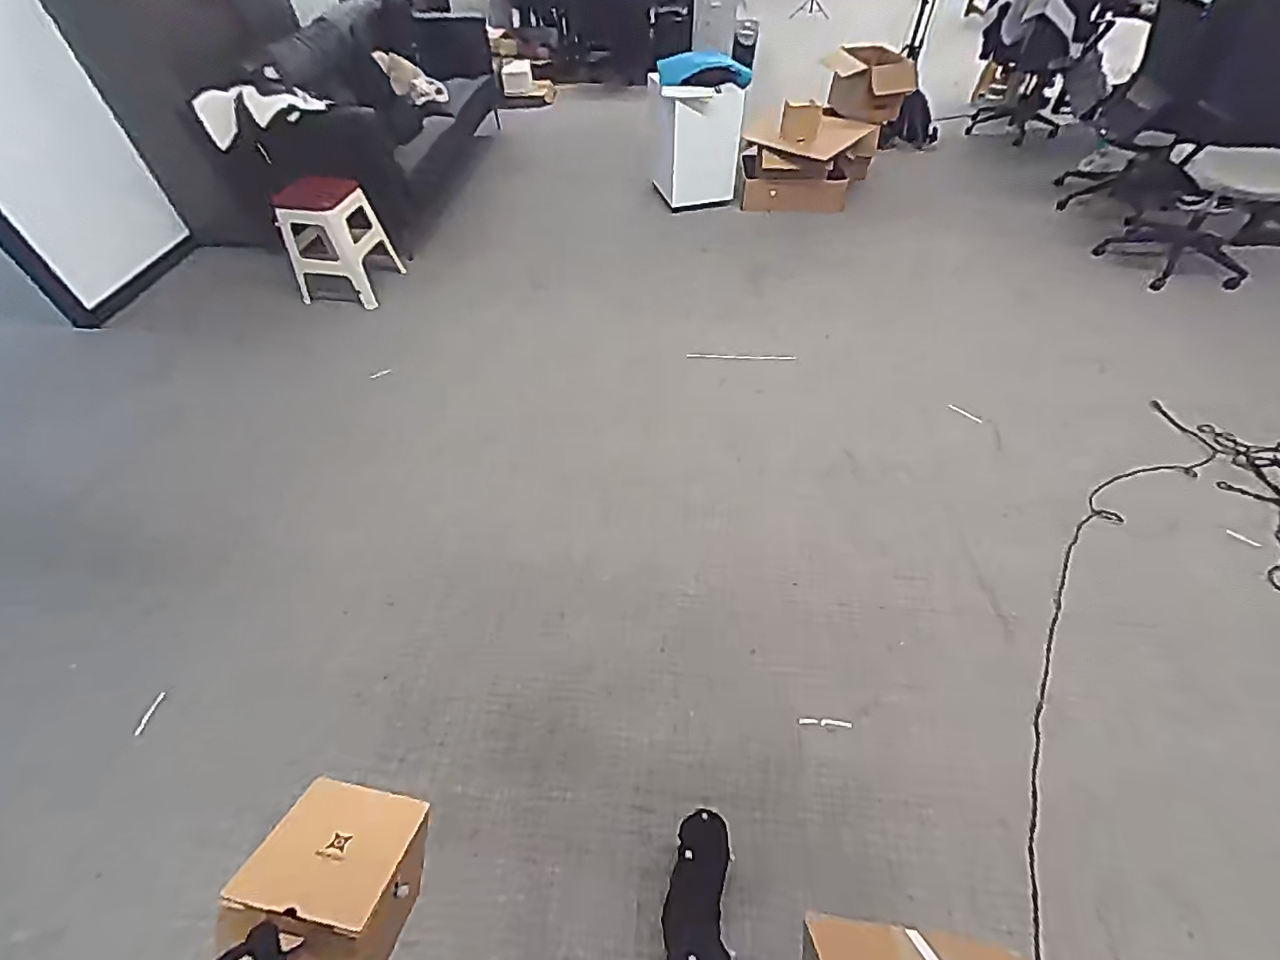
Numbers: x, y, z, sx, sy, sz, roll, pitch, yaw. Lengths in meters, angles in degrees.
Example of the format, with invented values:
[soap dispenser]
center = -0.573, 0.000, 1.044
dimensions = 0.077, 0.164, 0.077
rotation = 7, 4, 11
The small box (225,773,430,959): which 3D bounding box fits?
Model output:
[small box]
center = -0.398, 0.530, 0.701
dimensions = 0.168, 0.176, 0.179
rotation = 13, 16, 1
